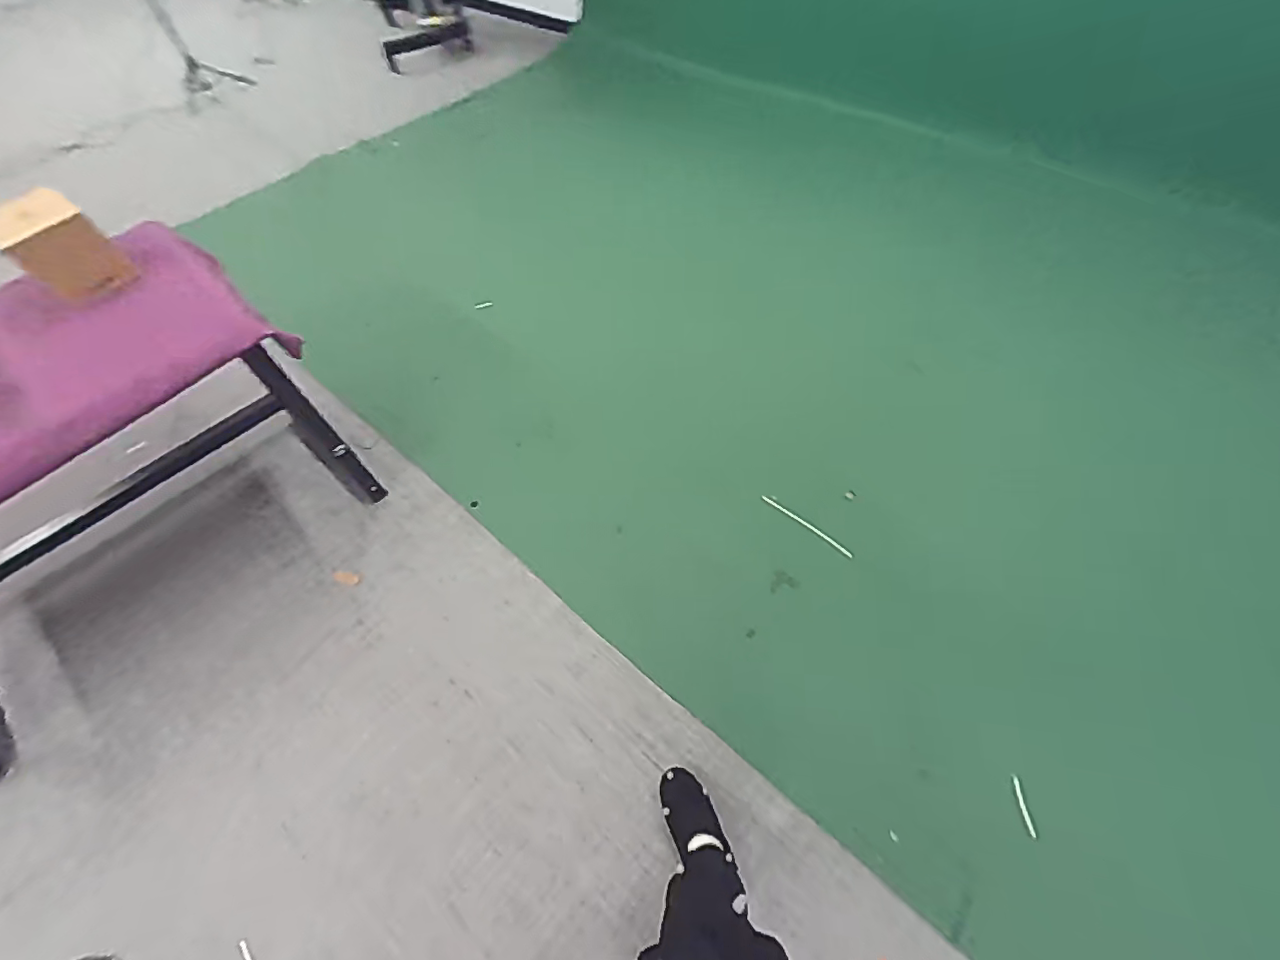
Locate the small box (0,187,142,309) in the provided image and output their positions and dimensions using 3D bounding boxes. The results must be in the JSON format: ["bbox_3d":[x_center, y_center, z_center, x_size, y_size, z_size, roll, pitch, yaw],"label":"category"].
[{"bbox_3d":[-1.302,-0.519,1.221,0.179,0.176,0.168,33,65,20],"label":"small box"}]
